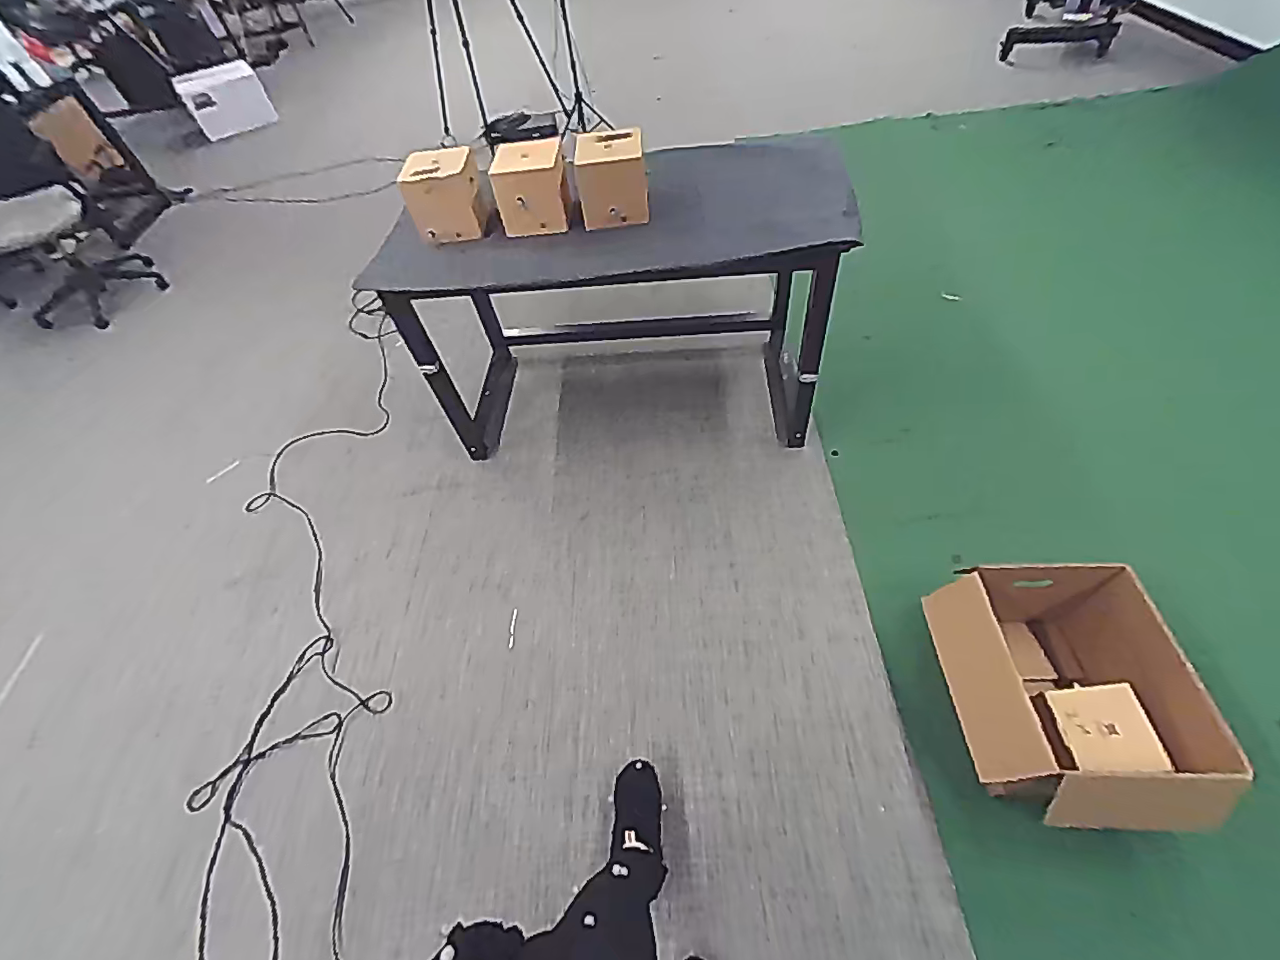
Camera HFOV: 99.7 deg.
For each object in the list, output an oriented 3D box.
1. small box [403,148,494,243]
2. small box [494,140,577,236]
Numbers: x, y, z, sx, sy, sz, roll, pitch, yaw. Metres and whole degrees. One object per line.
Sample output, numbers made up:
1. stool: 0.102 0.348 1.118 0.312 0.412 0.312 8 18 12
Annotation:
1. small box: -0.502 -0.754 1.448 0.168 0.176 0.179 -6 51 3
2. small box: -0.267 -0.762 1.424 0.168 0.176 0.179 -3 52 5
